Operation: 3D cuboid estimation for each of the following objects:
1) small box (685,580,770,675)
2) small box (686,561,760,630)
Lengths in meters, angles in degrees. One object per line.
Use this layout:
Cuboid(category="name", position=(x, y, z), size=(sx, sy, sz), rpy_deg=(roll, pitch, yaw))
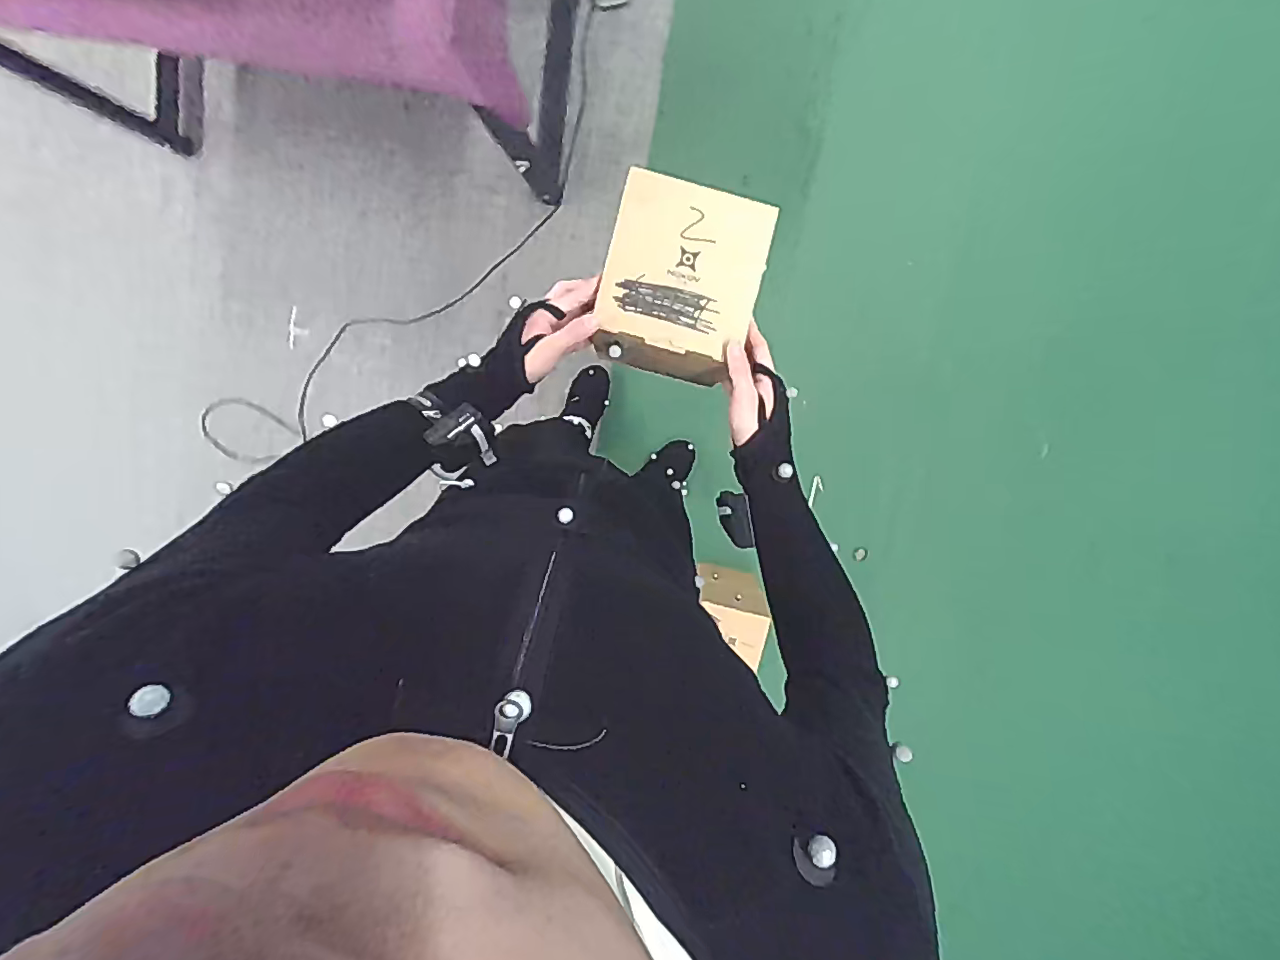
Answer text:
Cuboid(category="small box", position=(0.221, 0.373, 1.409), size=(0.179, 0.176, 0.168), rpy_deg=(14, 100, 3))
Cuboid(category="small box", position=(0.236, 0.350, 1.570), size=(0.179, 0.176, 0.168), rpy_deg=(13, 99, 3))
